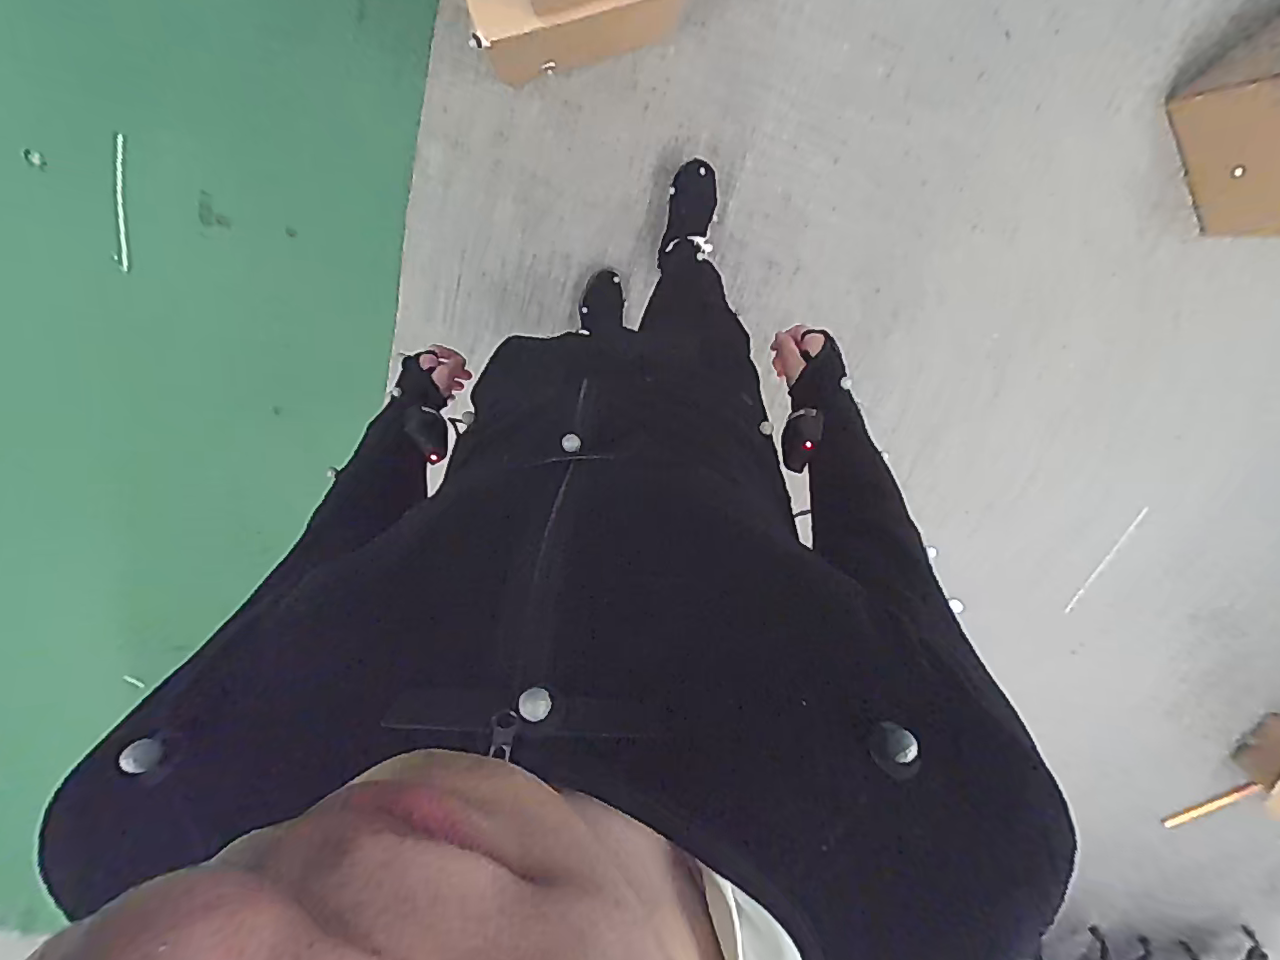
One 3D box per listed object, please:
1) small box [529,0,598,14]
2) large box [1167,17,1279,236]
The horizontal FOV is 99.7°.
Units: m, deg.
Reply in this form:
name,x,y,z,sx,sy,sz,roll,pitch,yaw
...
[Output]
name,x,y,z,sx,sy,sz,roll,pitch,yaw
small box,-0.115,-0.876,0.847,0.179,0.176,0.168,-13,116,3
large box,1.566,-0.835,1.254,0.320,0.320,0.408,-38,111,12
